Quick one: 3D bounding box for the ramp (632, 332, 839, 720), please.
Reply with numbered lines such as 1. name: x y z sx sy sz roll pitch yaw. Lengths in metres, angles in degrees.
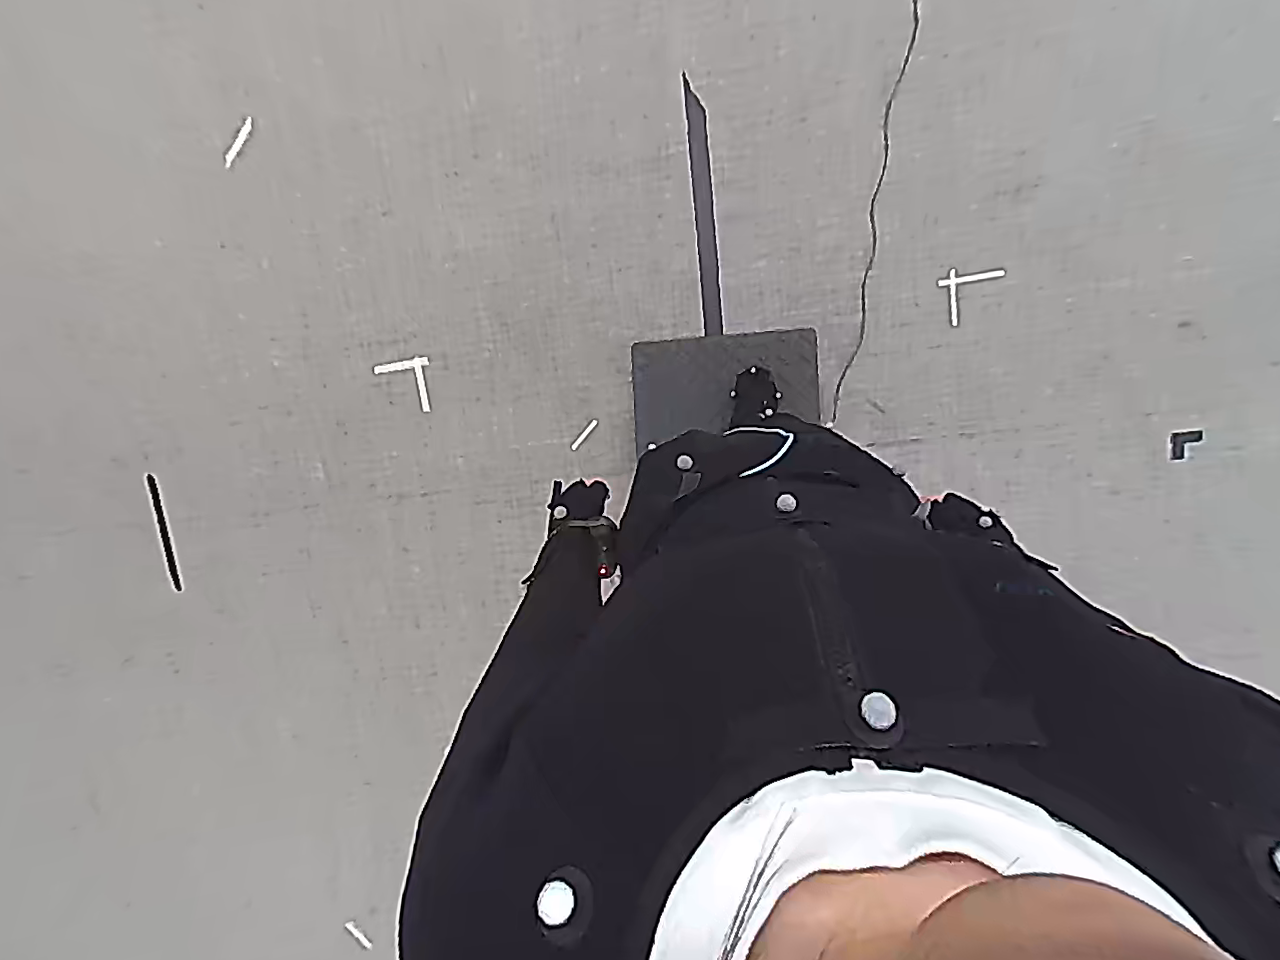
1. ramp: 0.238 0.120 1.429 0.509 0.206 0.991 -5 96 10
